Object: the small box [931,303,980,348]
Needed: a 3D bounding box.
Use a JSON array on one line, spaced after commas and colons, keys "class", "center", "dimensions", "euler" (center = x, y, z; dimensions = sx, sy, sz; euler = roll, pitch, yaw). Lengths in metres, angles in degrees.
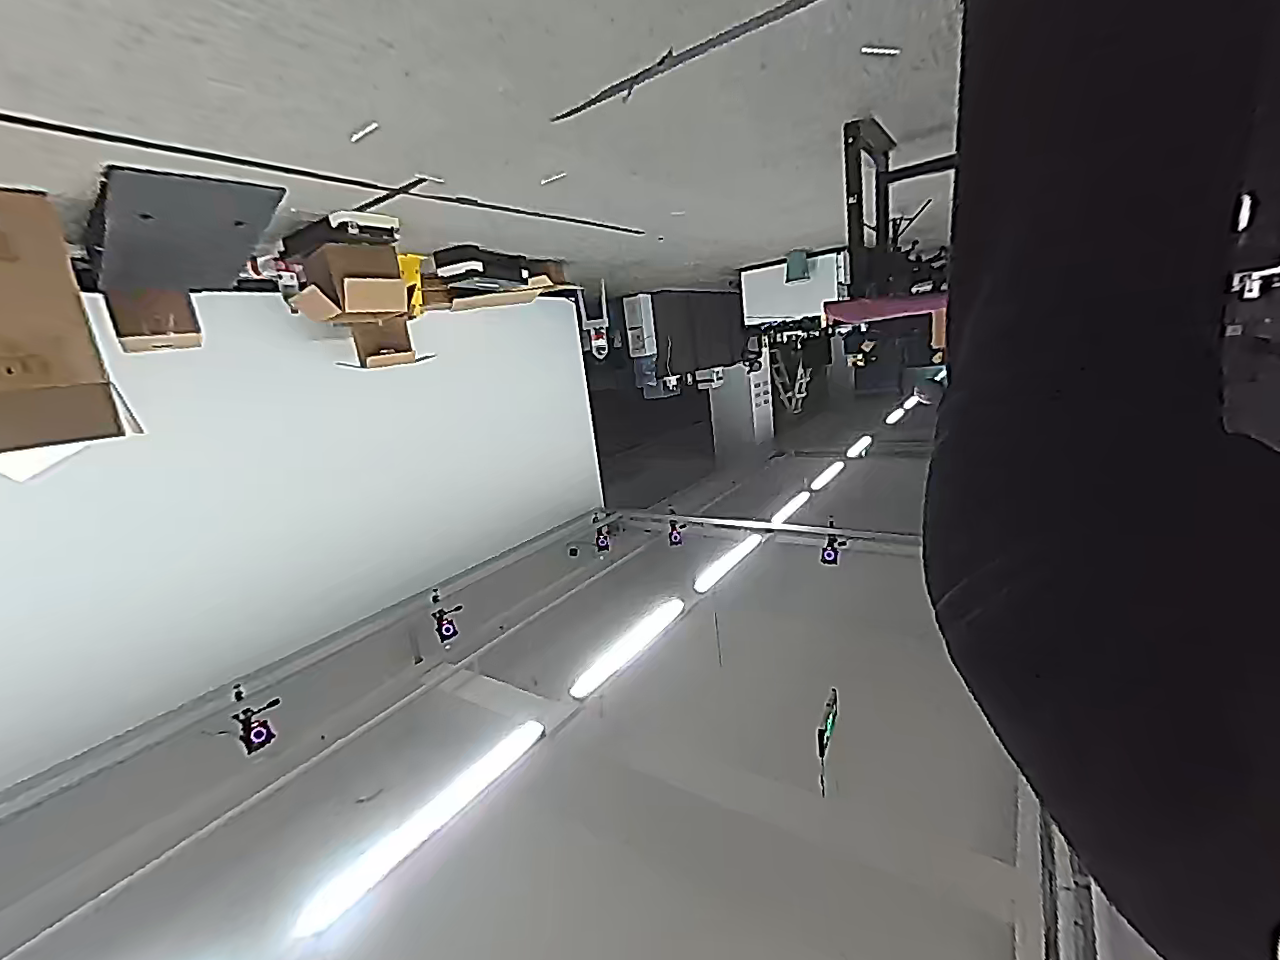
[{"class": "small box", "center": [1.399, -0.684, 2.392], "dimensions": [0.179, 0.176, 0.168], "euler": [1, -167, 34]}]
